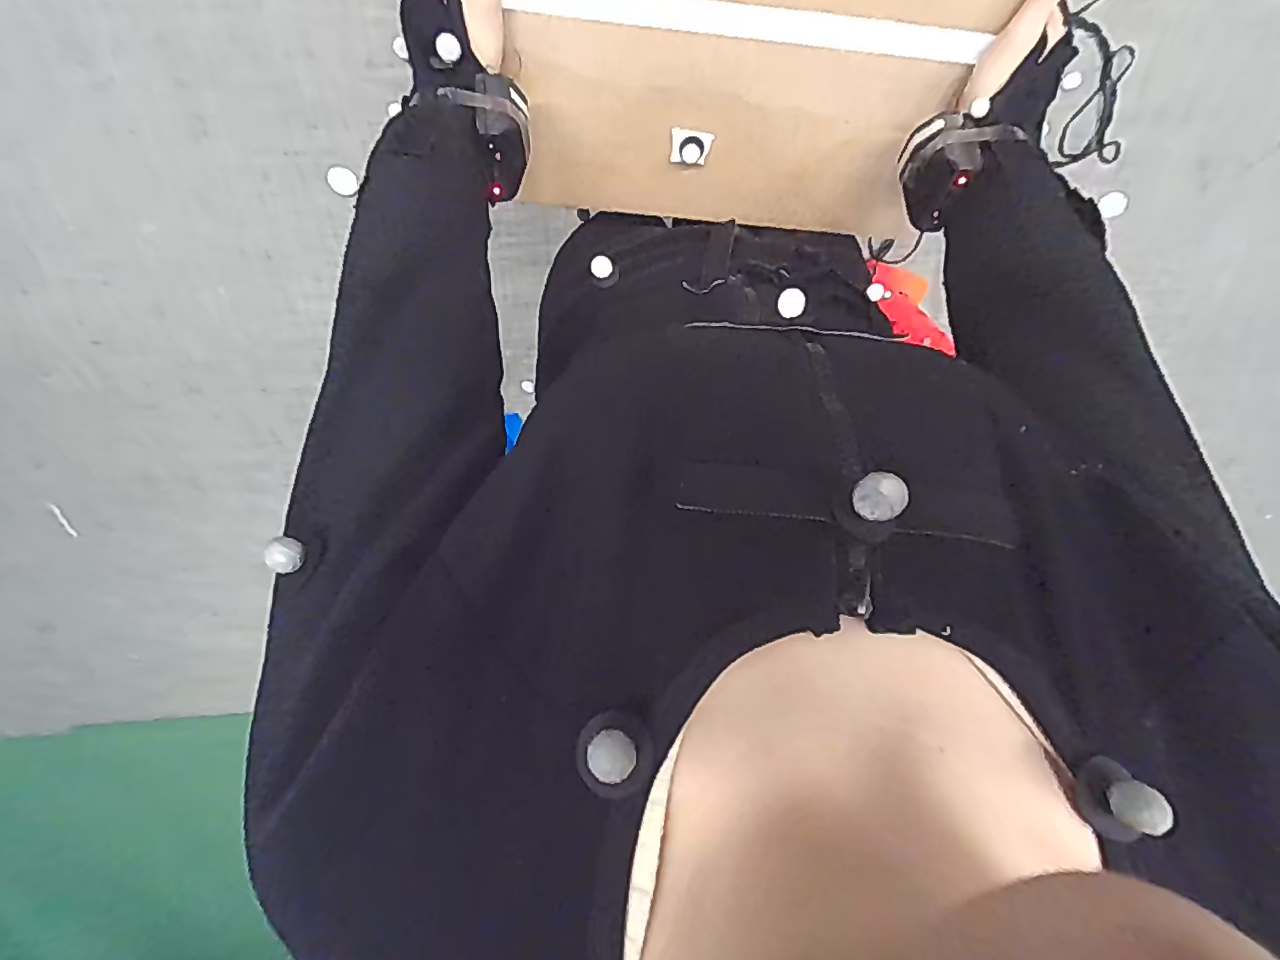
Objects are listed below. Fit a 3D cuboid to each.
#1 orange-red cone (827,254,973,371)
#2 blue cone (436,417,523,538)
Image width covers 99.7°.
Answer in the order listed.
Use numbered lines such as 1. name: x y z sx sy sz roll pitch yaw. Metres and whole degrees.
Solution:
1. orange-red cone: 0.567 -0.308 1.110 0.199 0.360 0.198 14 121 -14
2. blue cone: -0.399 0.008 1.268 0.192 0.380 0.193 -2 122 -2
